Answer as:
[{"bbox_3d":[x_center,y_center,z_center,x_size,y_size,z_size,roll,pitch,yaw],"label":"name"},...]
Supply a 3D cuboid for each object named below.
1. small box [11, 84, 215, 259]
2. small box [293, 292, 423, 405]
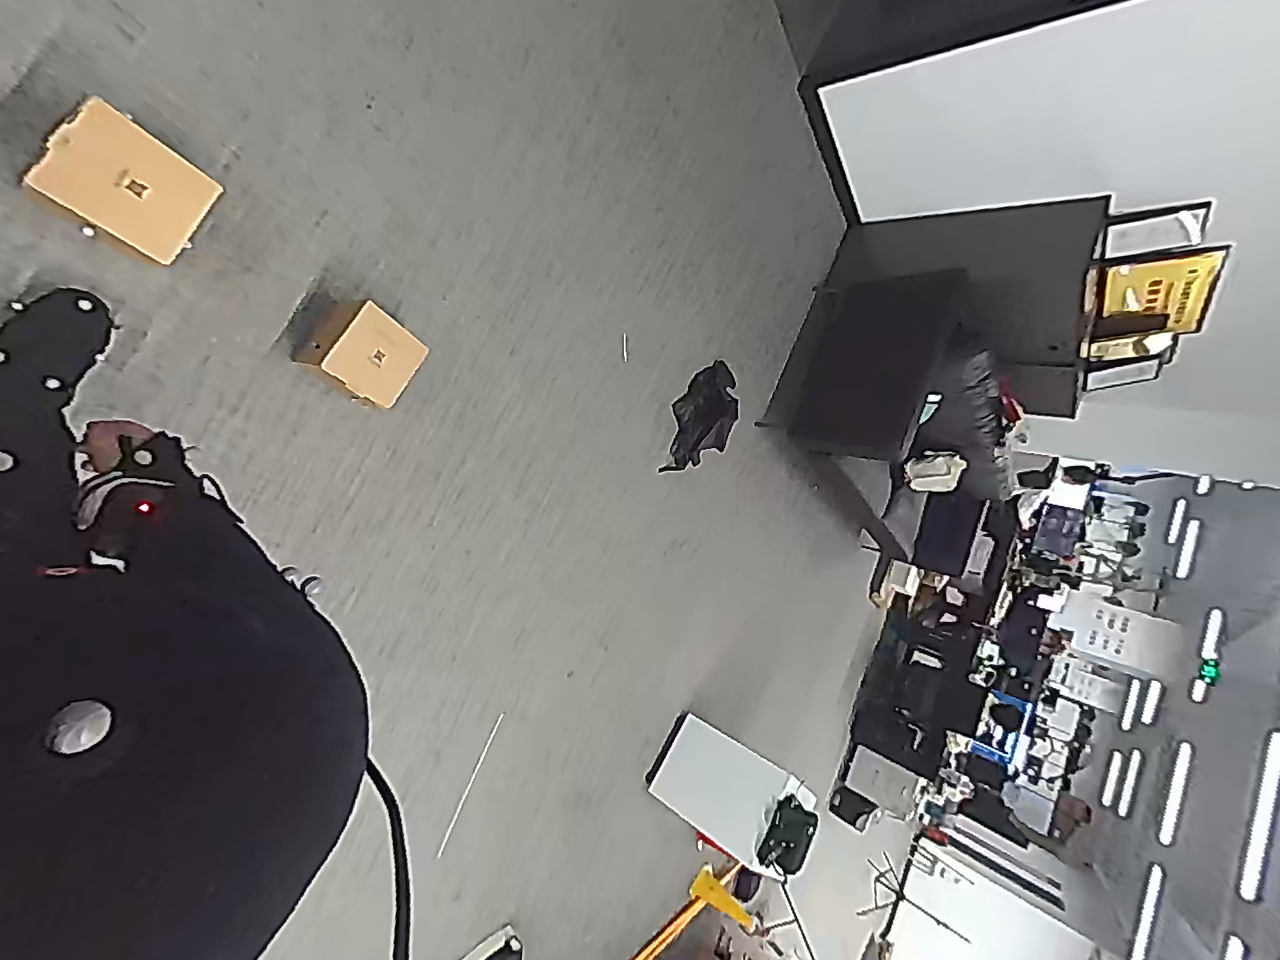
[{"bbox_3d":[-0.843,-0.480,0.870,0.179,0.176,0.168,37,74,-48],"label":"small box"},{"bbox_3d":[-0.625,-0.289,1.189,0.168,0.176,0.179,43,68,-49],"label":"small box"}]
